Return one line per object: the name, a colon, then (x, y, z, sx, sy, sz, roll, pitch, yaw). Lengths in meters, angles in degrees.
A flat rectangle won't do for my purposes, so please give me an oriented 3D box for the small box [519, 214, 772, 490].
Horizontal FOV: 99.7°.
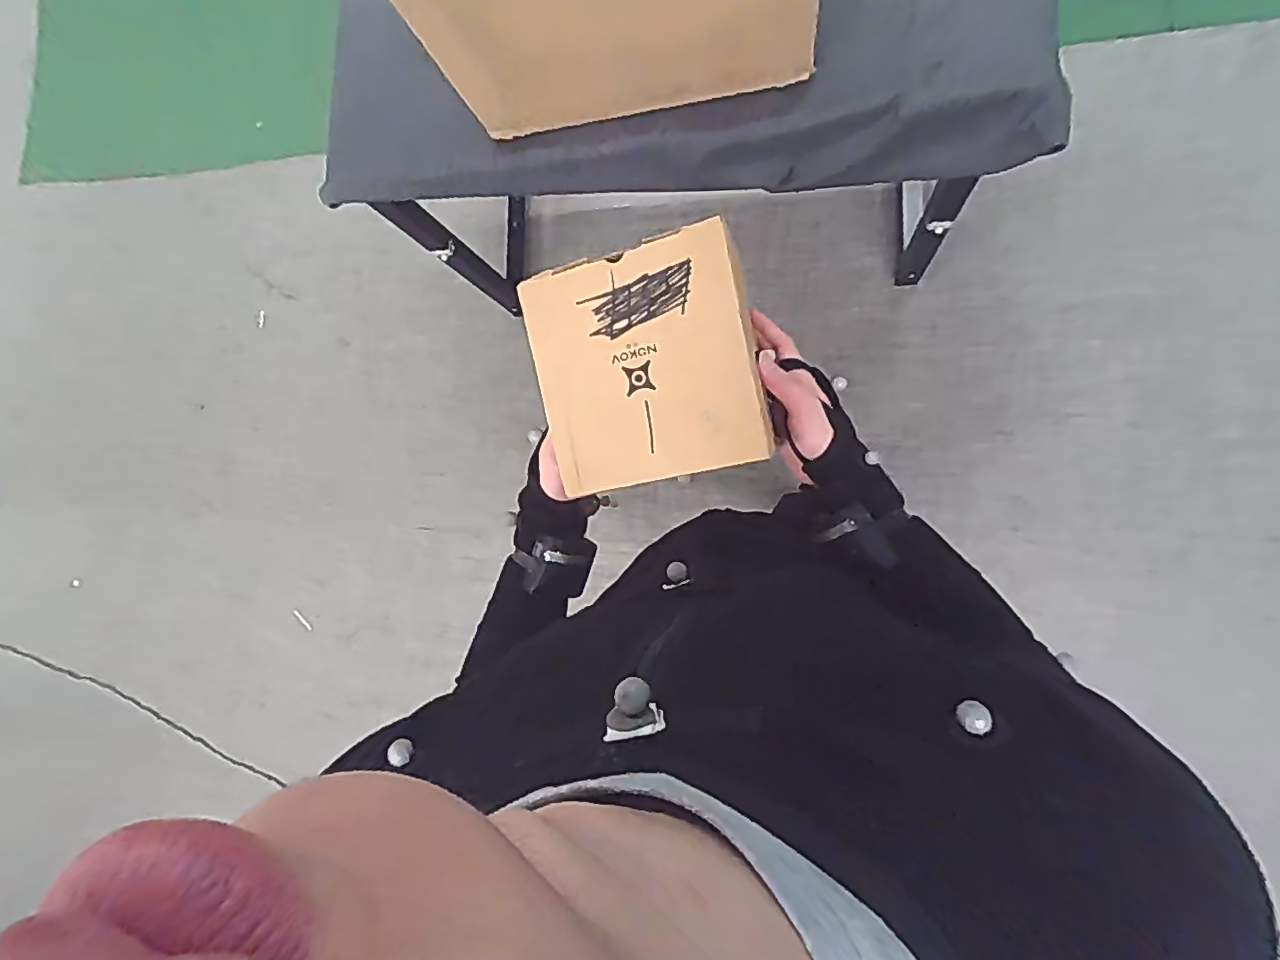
small box: (0.019, -0.097, 0.481, 0.168, 0.176, 0.179, -11, 93, 17)
